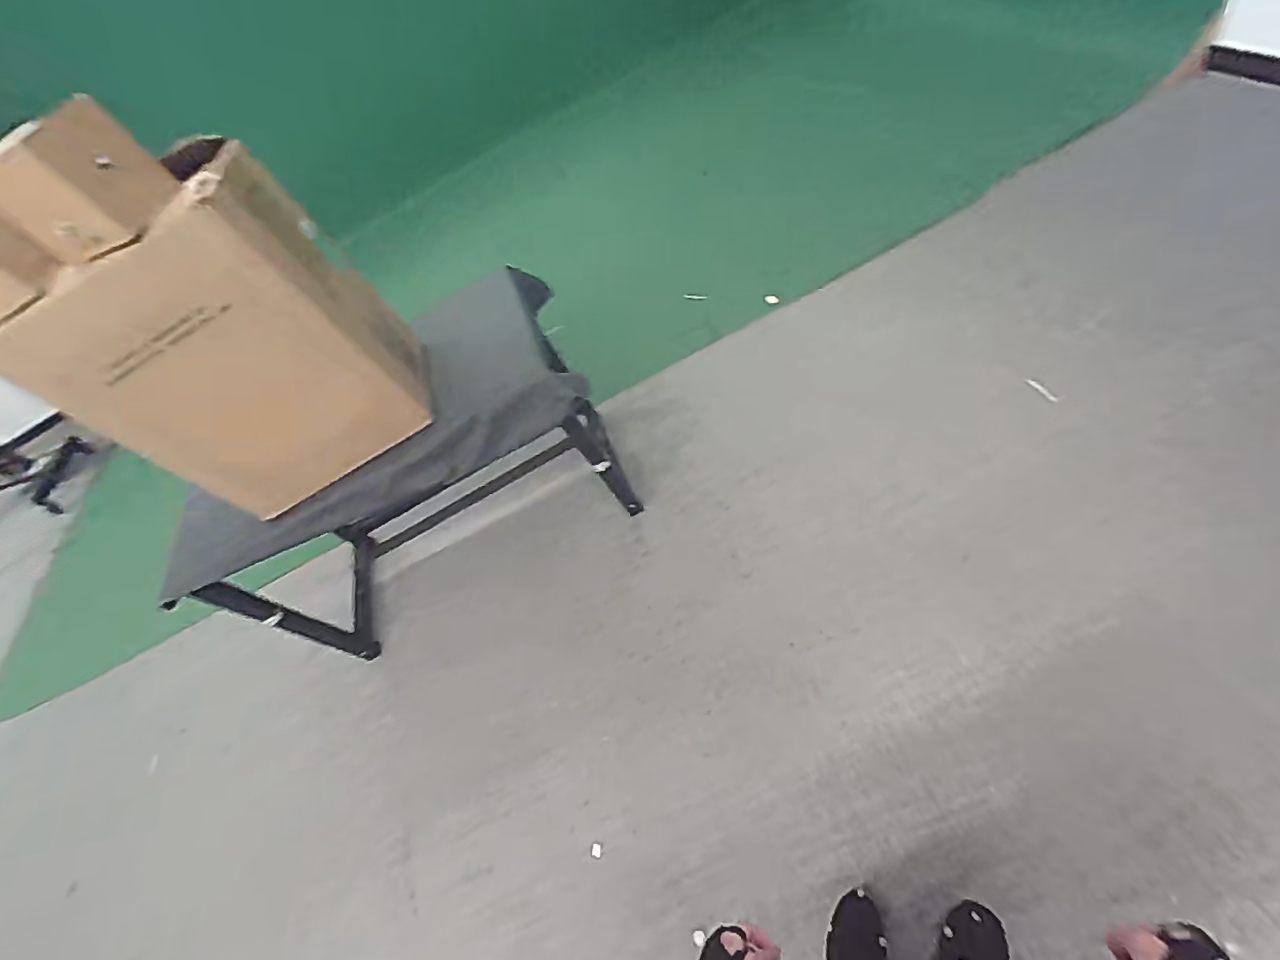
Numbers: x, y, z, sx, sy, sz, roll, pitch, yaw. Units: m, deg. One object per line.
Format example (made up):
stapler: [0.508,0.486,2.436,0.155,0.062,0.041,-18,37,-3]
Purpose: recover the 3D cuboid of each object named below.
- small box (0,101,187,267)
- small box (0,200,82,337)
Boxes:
small box: [-0.957,-0.511,0.949,0.168,0.176,0.179,-11,55,18]
small box: [-1.182,-0.383,0.970,0.179,0.176,0.168,-31,51,6]
